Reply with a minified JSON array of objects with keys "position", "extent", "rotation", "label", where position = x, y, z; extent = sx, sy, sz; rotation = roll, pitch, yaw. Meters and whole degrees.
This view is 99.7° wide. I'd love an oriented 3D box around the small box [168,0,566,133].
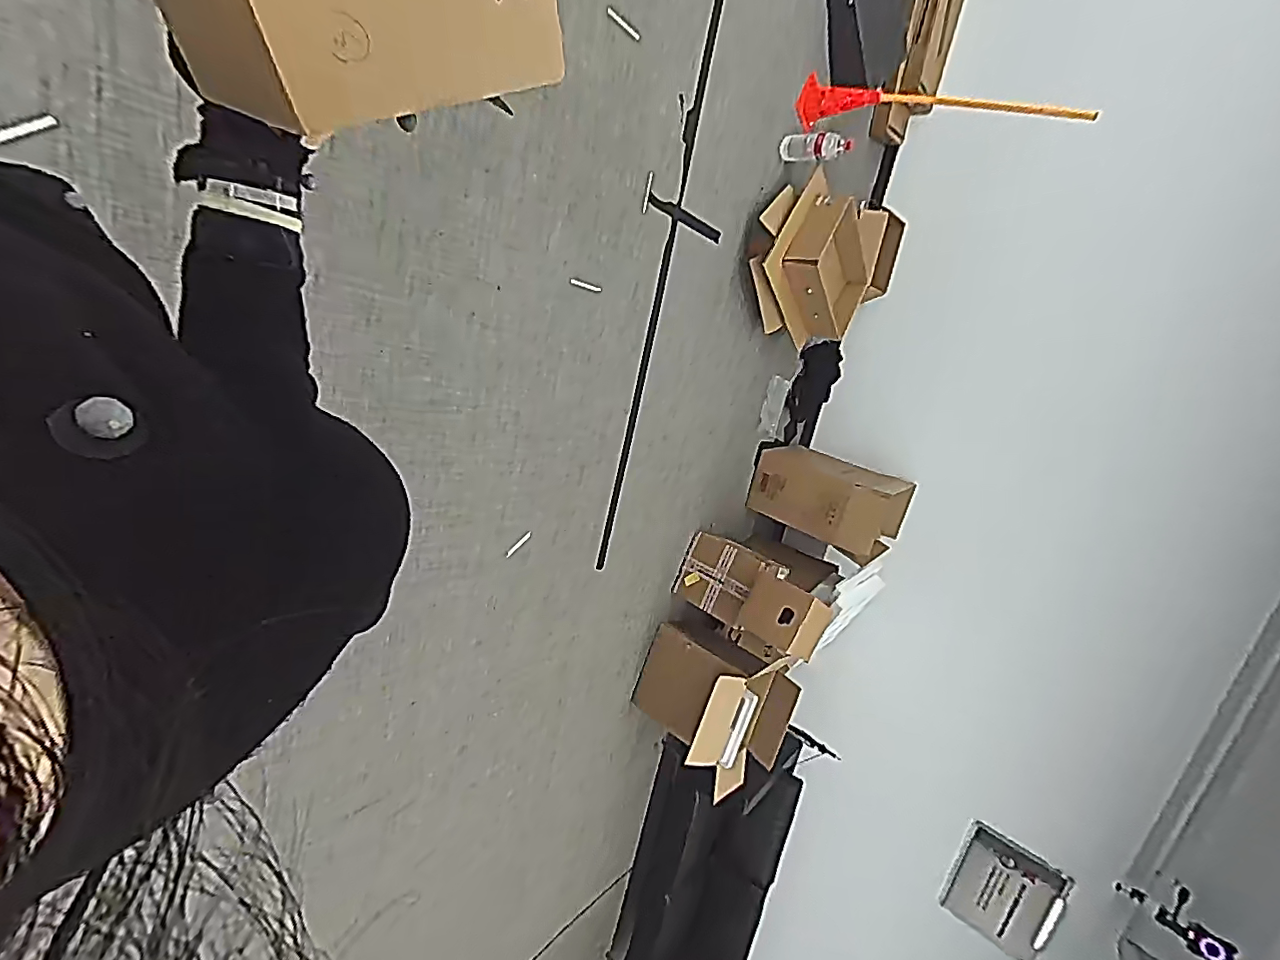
[{"position":[-0.169,-0.313,0.301],"extent":[0.179,0.176,0.168],"rotation":[-37,145,-30],"label":"small box"}]
